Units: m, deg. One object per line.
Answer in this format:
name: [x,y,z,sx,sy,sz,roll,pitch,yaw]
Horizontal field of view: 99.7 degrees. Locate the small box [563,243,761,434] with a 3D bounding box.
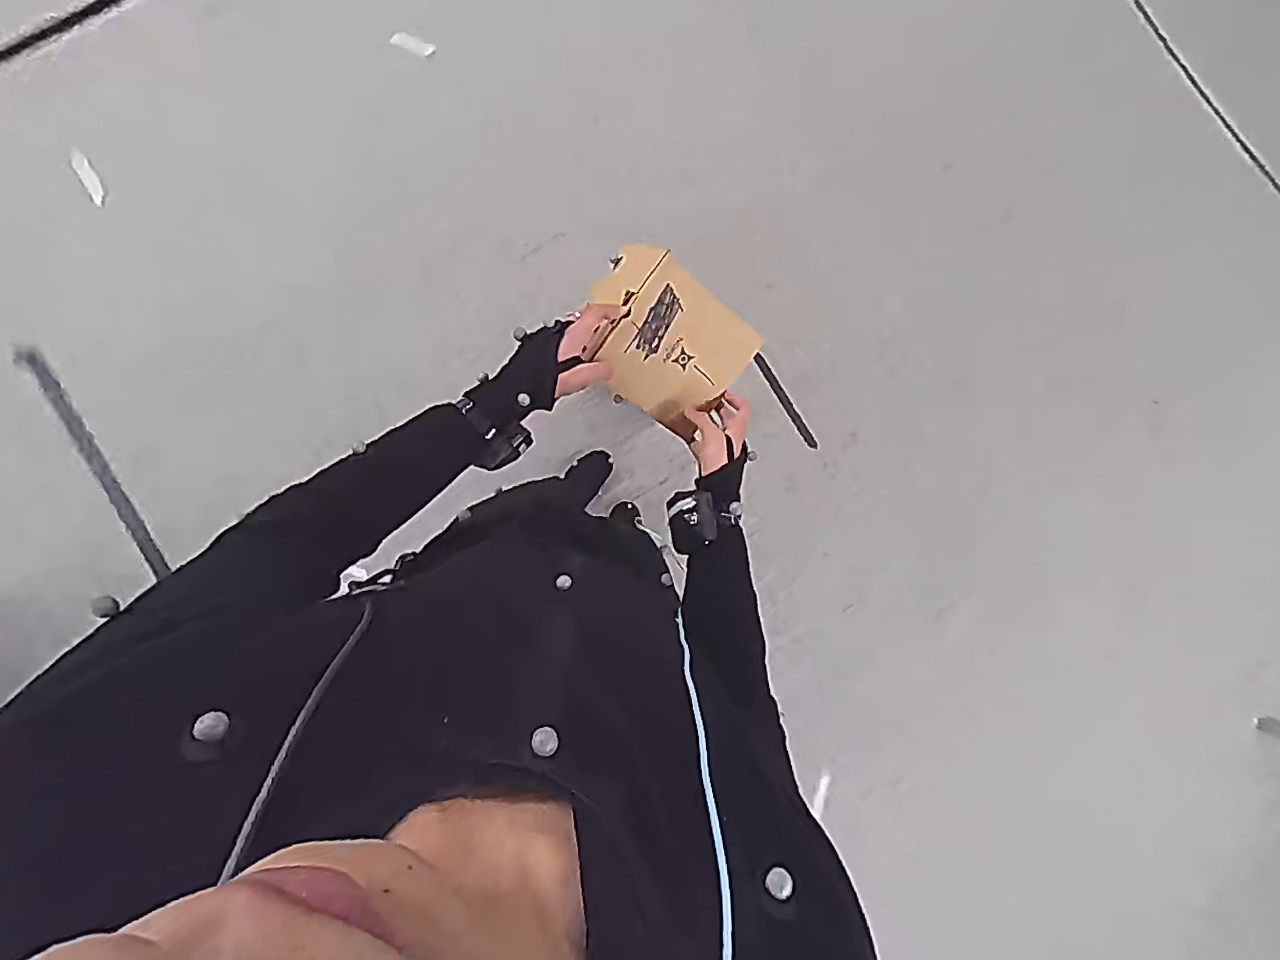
small box: [0.018,-0.193,0.724,0.179,0.176,0.168,30,102,-30]
